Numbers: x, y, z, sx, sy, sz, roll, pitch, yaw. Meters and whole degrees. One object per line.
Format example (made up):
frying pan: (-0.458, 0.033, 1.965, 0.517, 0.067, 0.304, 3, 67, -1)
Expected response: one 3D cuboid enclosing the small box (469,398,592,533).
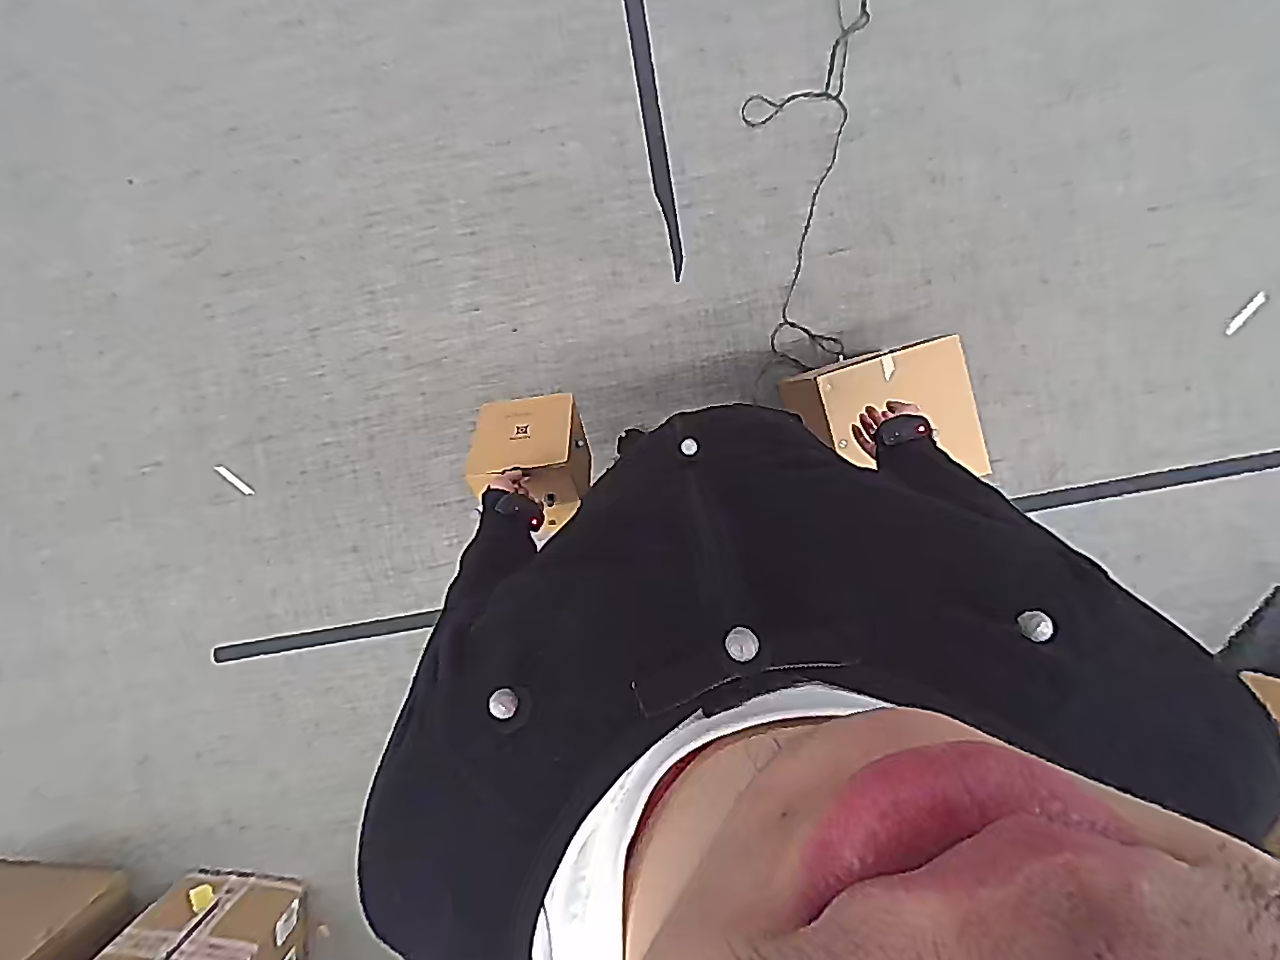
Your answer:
small box: (-0.182, -0.019, 0.960, 0.168, 0.179, 0.176, -5, 137, 4)
